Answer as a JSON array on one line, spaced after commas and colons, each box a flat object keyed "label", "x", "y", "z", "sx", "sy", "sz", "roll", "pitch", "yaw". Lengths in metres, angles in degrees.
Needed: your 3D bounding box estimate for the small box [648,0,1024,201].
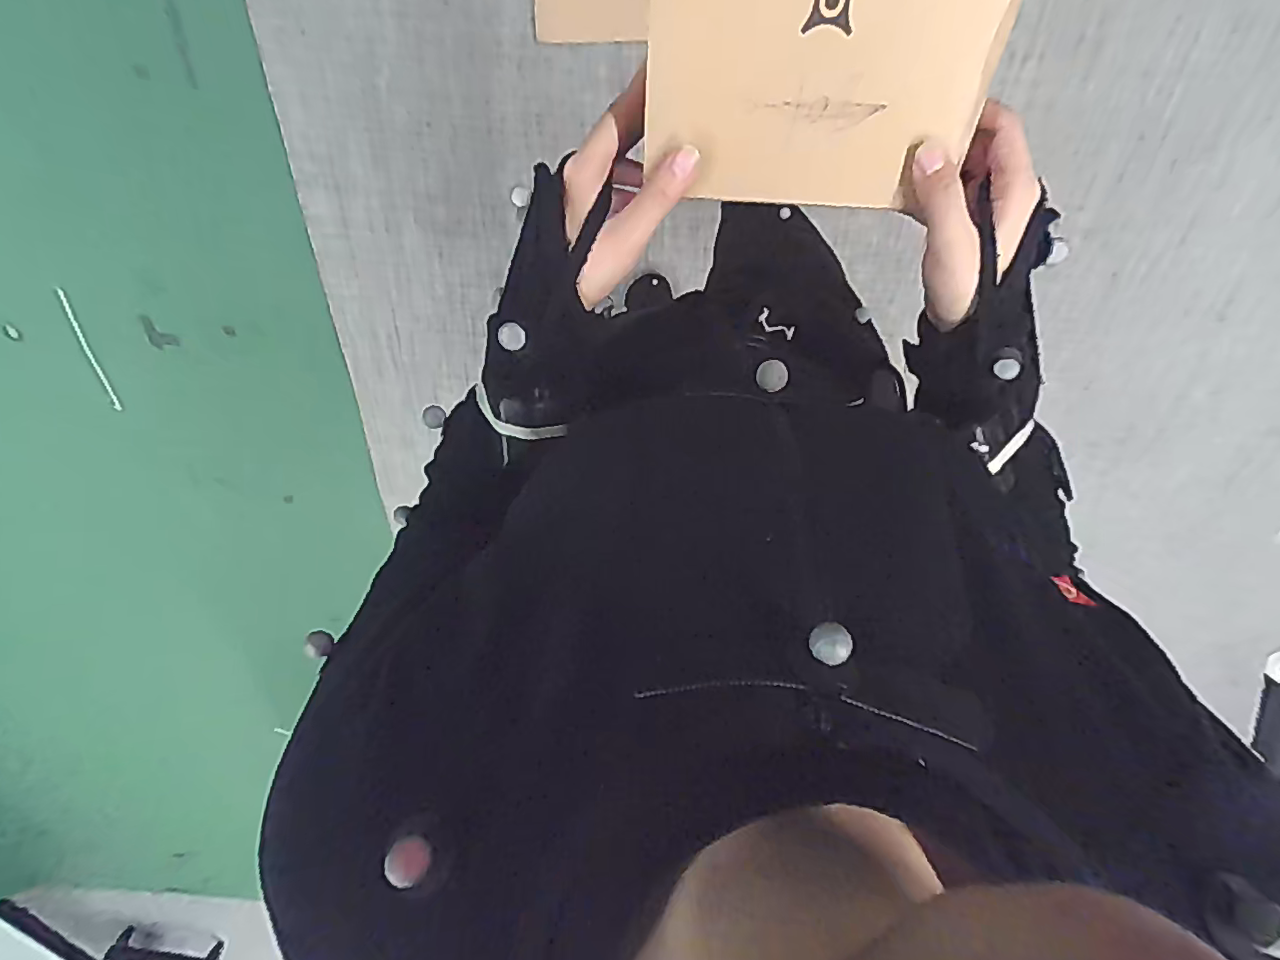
[{"label": "small box", "x": 0.094, "y": -0.273, "z": 0.299, "sx": 0.168, "sy": 0.176, "sz": 0.179, "roll": 4, "pitch": 130, "yaw": 2}]
